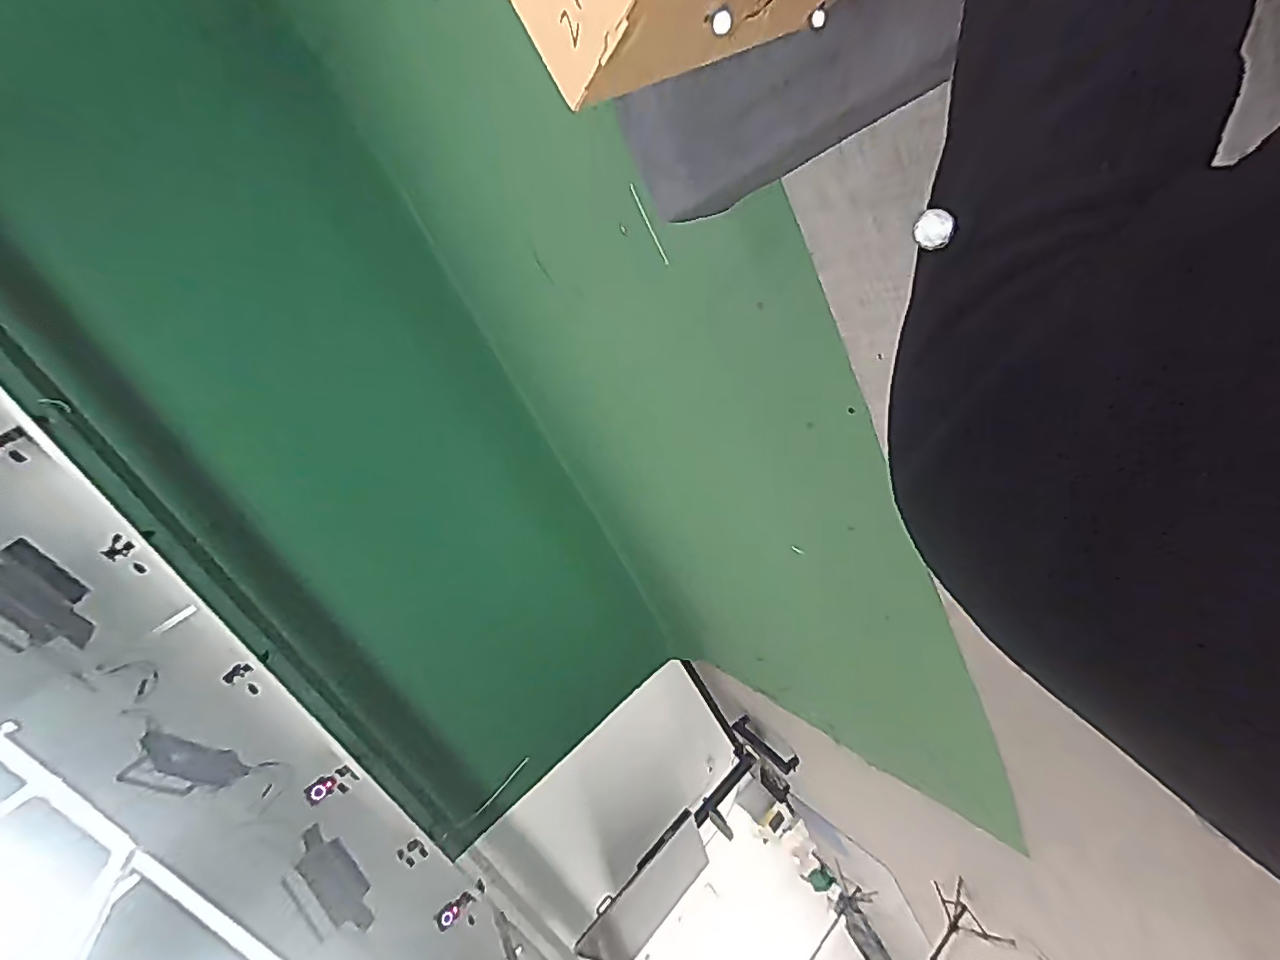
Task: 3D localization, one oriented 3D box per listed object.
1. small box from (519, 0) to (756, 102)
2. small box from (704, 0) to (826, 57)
[{"bbox_3d":[0.001,-0.438,0.404,0.179,0.176,0.168,59,157,-14],"label":"small box"},{"bbox_3d":[0.124,-0.527,0.467,0.168,0.176,0.179,2,124,62],"label":"small box"}]
